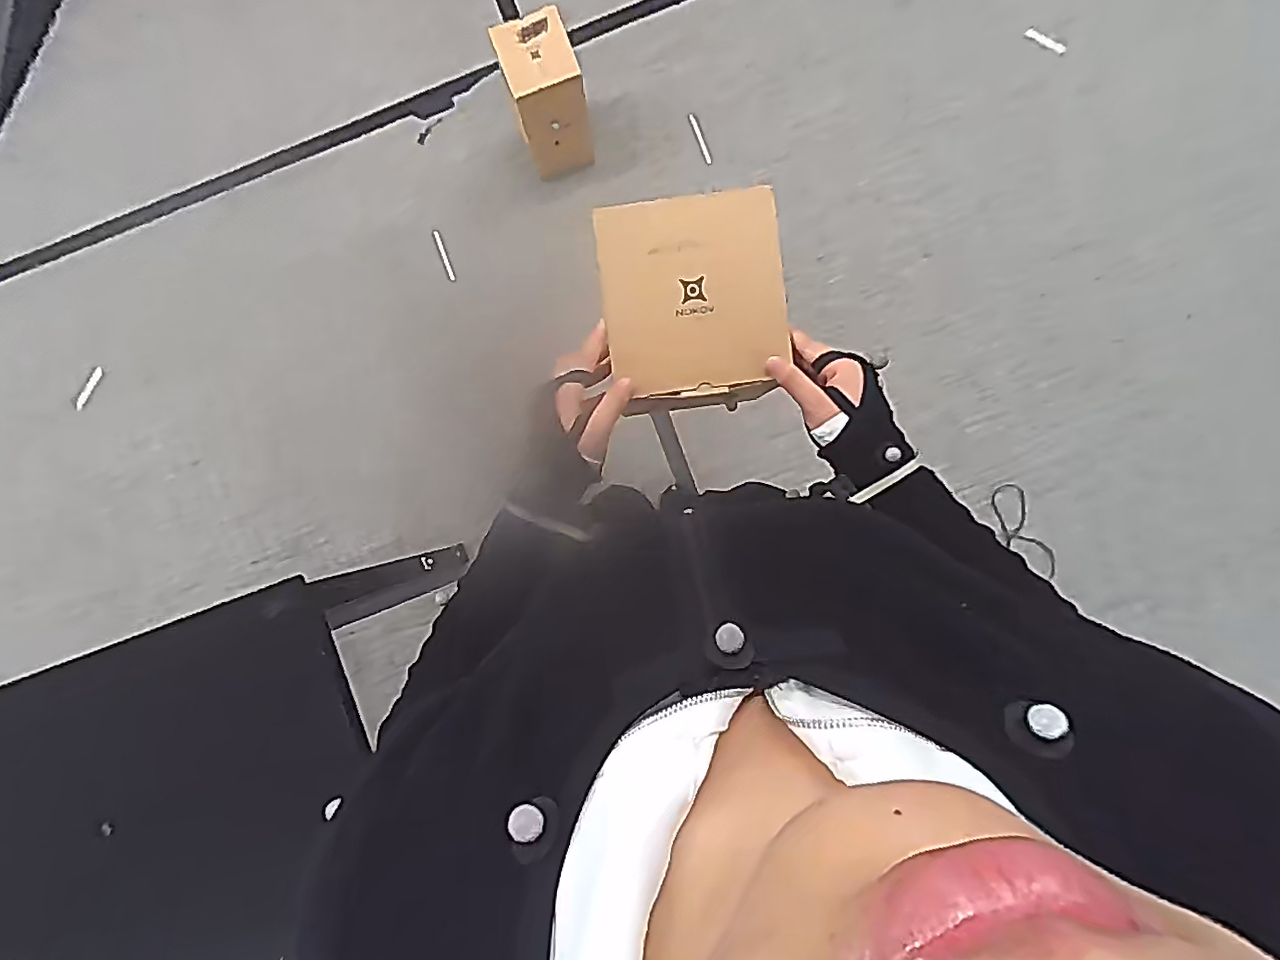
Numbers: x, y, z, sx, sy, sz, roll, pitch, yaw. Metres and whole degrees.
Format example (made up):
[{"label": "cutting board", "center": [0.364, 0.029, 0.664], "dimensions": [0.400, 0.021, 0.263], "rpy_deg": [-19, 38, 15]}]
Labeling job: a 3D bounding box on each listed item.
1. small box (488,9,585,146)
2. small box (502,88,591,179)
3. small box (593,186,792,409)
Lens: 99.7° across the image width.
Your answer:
[{"label": "small box", "center": [-0.242, -0.957, 1.299], "dimensions": [0.168, 0.176, 0.179], "rpy_deg": [-21, 89, 0]}, {"label": "small box", "center": [-0.246, -0.956, 1.464], "dimensions": [0.179, 0.176, 0.168], "rpy_deg": [-21, 89, -1]}, {"label": "small box", "center": [0.048, -0.172, 0.567], "dimensions": [0.168, 0.176, 0.179], "rpy_deg": [-8, 91, -1]}]
